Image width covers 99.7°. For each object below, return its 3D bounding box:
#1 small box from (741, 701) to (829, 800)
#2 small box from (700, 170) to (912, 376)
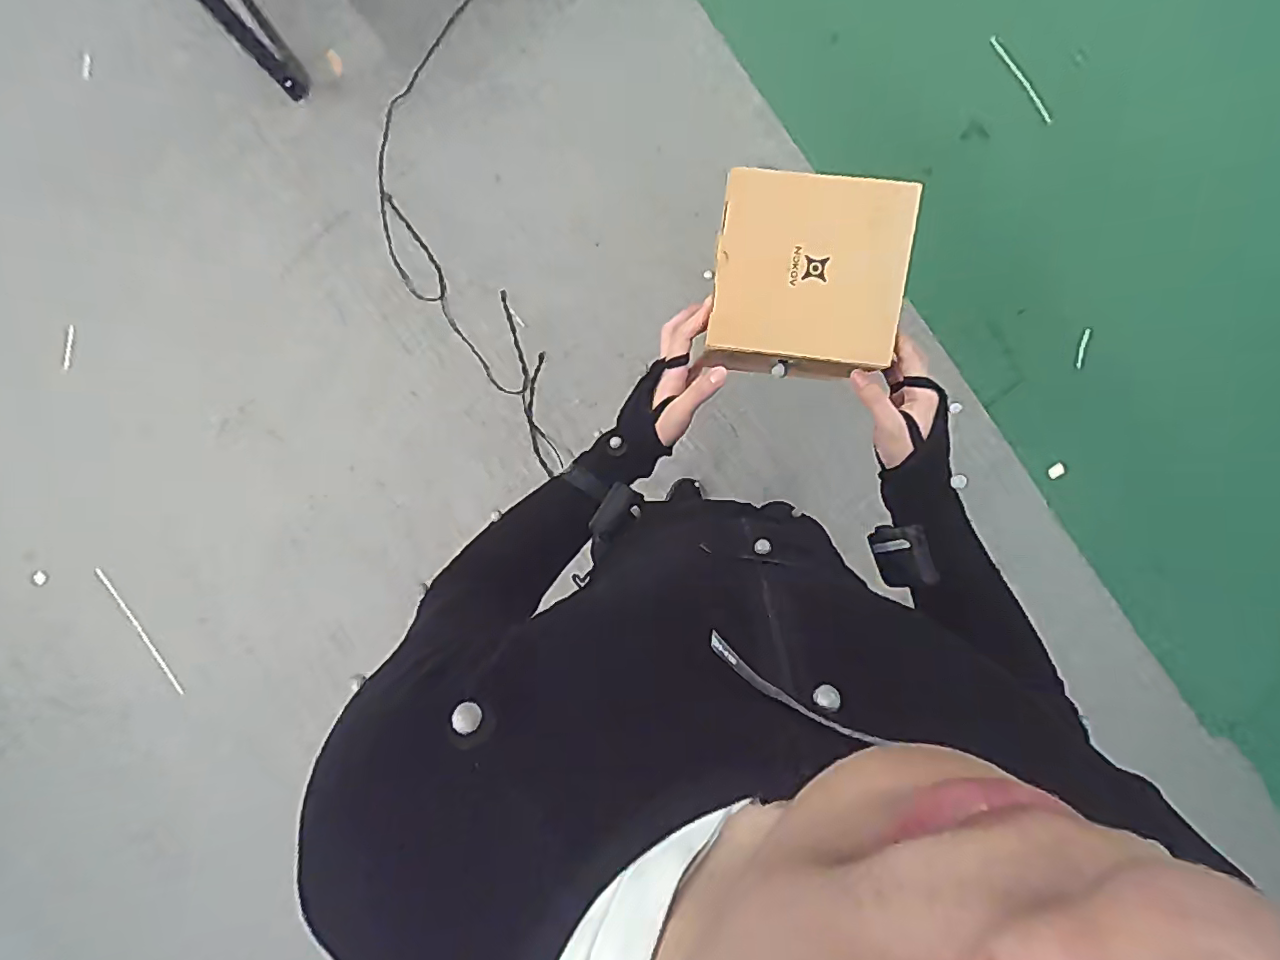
[{"bbox_3d":[0.403,0.755,1.538,0.168,0.176,0.179,-27,88,2],"label":"small box"},{"bbox_3d":[0.162,-0.207,0.585,0.179,0.176,0.168,7,96,6],"label":"small box"}]
